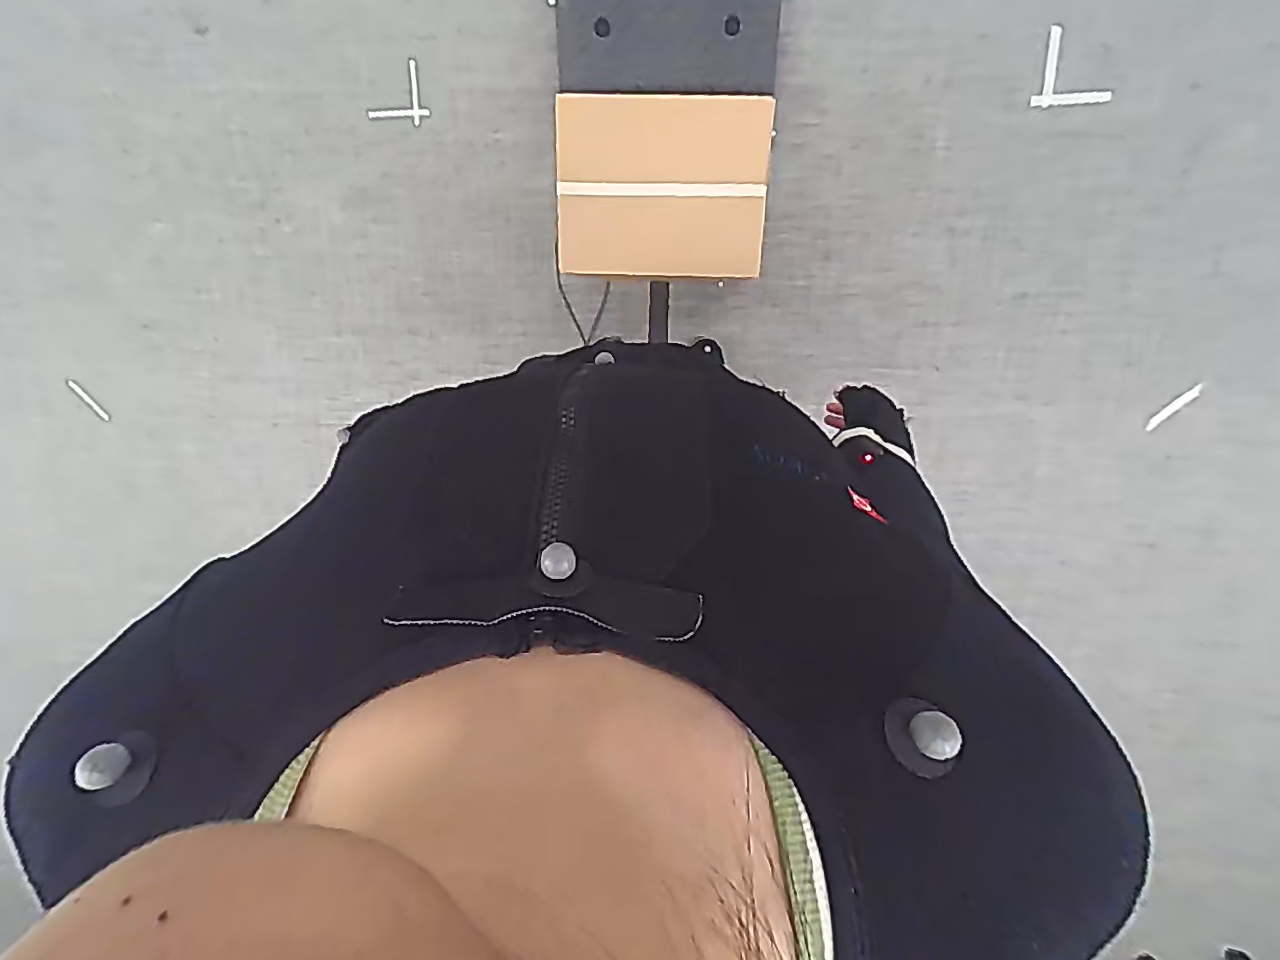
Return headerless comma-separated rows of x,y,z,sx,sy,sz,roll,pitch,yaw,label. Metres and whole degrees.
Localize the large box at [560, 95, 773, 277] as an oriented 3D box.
0.058,-0.612,1.188,0.408,0.320,0.320,2,108,3,large box
